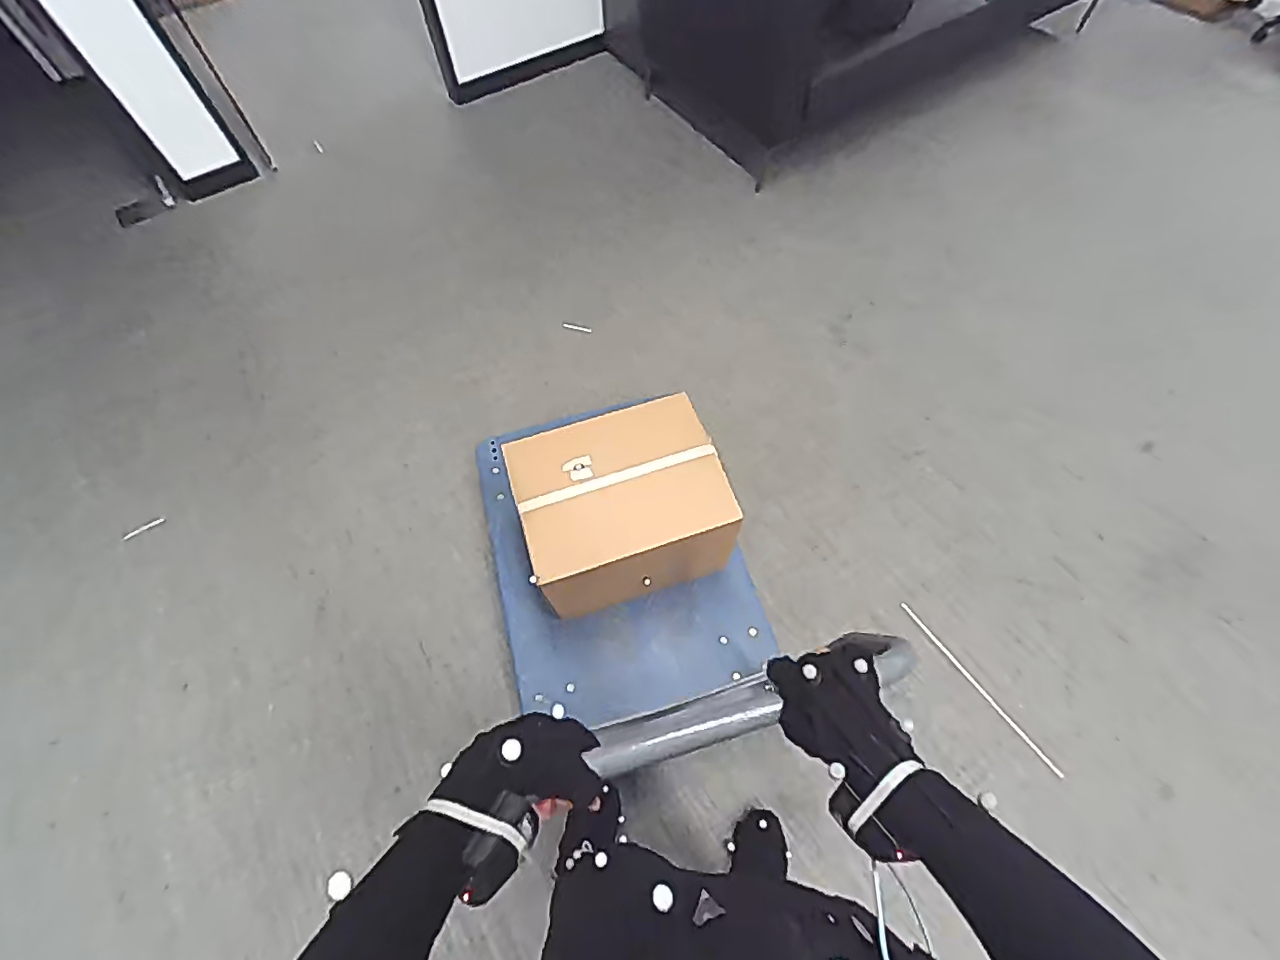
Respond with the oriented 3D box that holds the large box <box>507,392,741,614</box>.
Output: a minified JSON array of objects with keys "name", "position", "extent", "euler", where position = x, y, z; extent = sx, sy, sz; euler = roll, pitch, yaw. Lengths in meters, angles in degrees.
[{"name":"large box","position":[-0.035,0.063,1.209],"extent":[0.408,0.320,0.320],"euler":[-18,64,-7]}]
